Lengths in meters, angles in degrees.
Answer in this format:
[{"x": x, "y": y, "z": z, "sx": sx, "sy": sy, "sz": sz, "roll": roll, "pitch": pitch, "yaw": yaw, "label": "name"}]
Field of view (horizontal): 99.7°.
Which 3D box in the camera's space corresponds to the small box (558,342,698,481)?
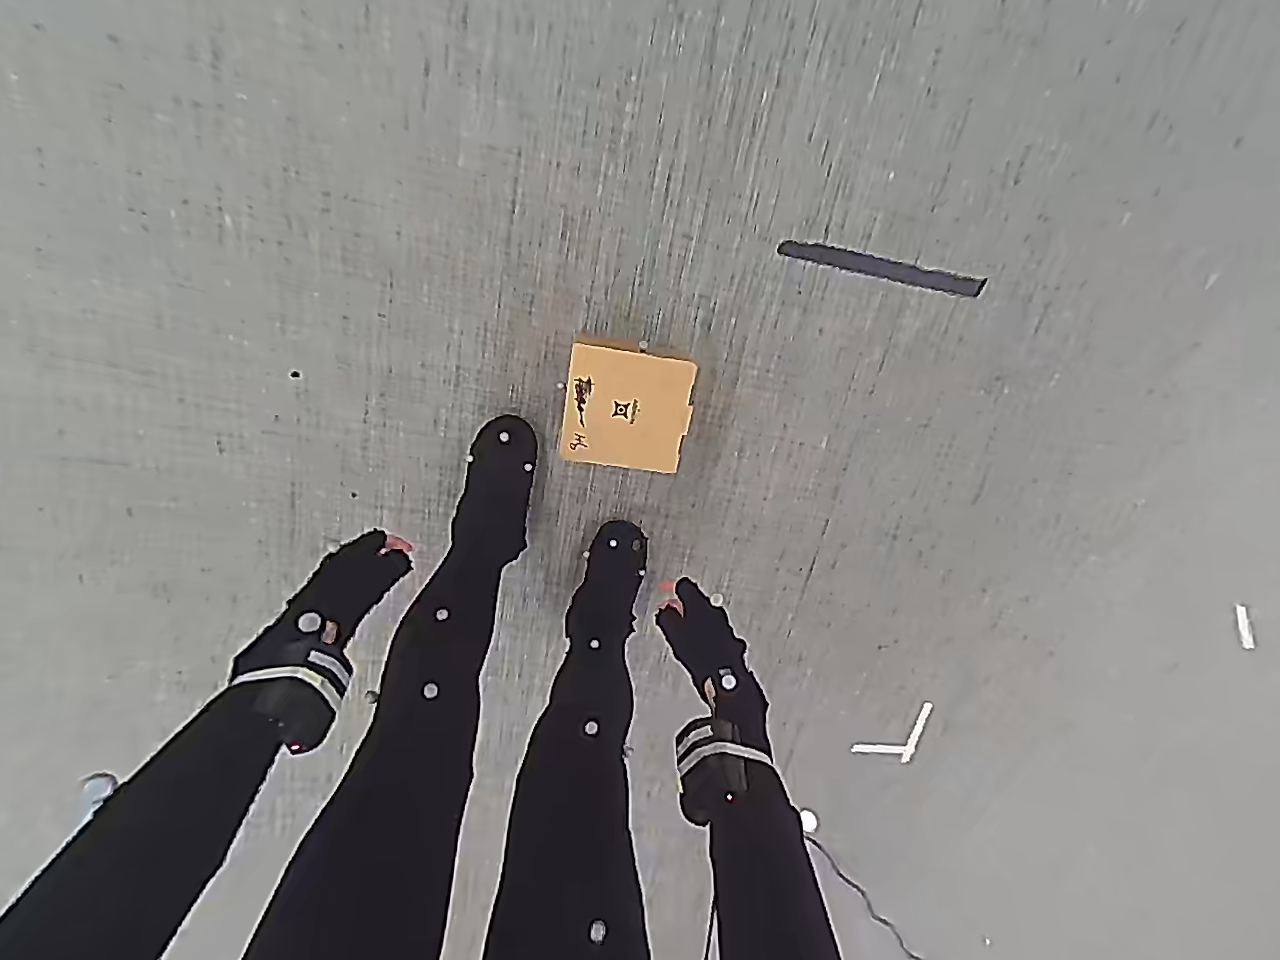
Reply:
[{"x": -0.027, "y": -0.112, "z": 0.830, "sx": 0.179, "sy": 0.176, "sz": 0.168, "roll": 7, "pitch": 109, "yaw": -9, "label": "small box"}]
